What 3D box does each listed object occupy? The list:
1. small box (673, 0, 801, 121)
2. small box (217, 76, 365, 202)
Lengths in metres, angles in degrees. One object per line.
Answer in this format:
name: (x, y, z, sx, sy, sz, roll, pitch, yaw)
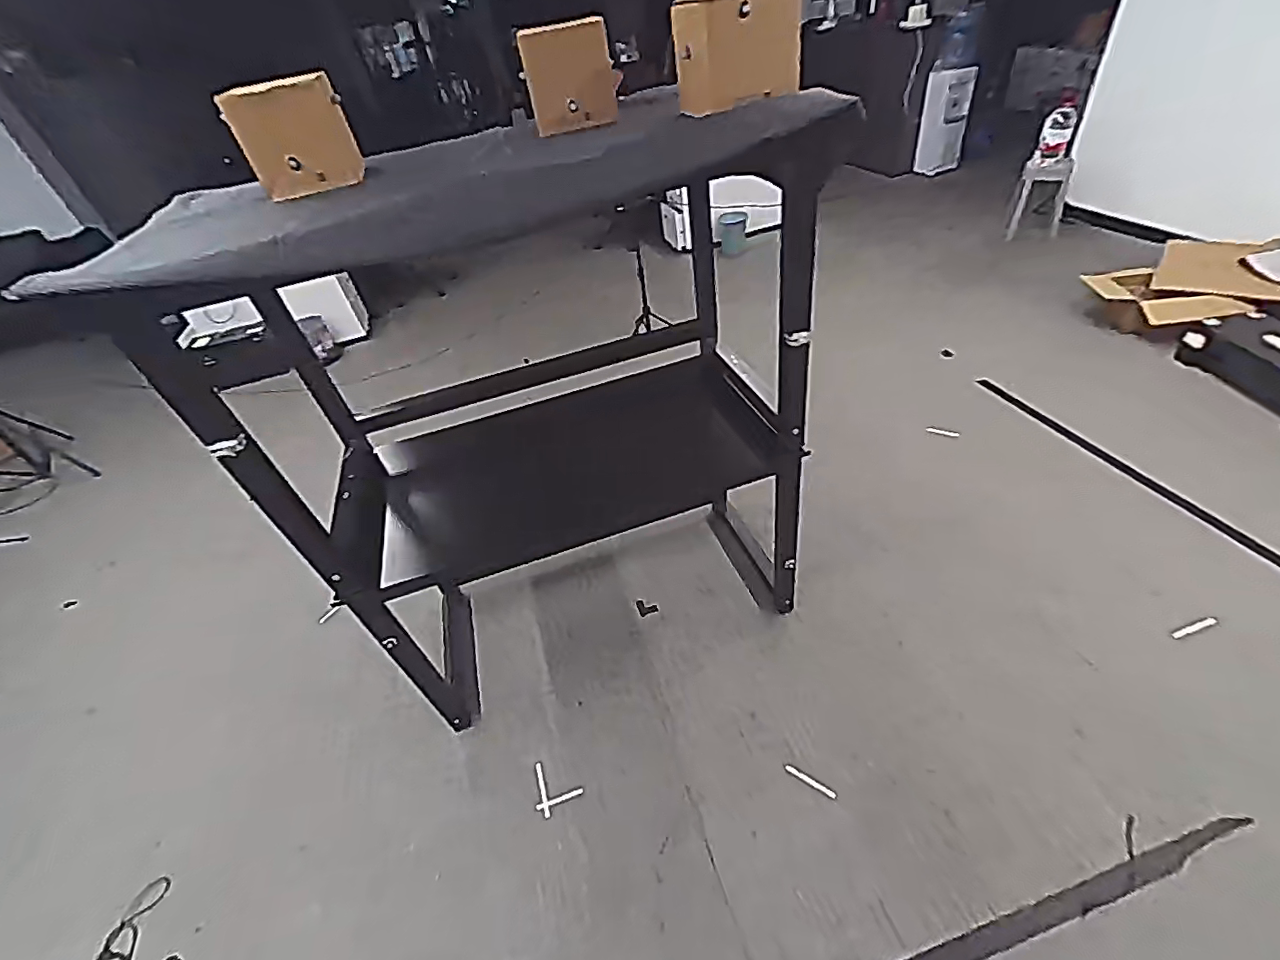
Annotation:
small box: (0.168, -0.754, 0.959, 0.168, 0.176, 0.179, -18, 41, -6)
small box: (-0.645, -0.647, 1.027, 0.168, 0.176, 0.179, -19, 43, -8)
